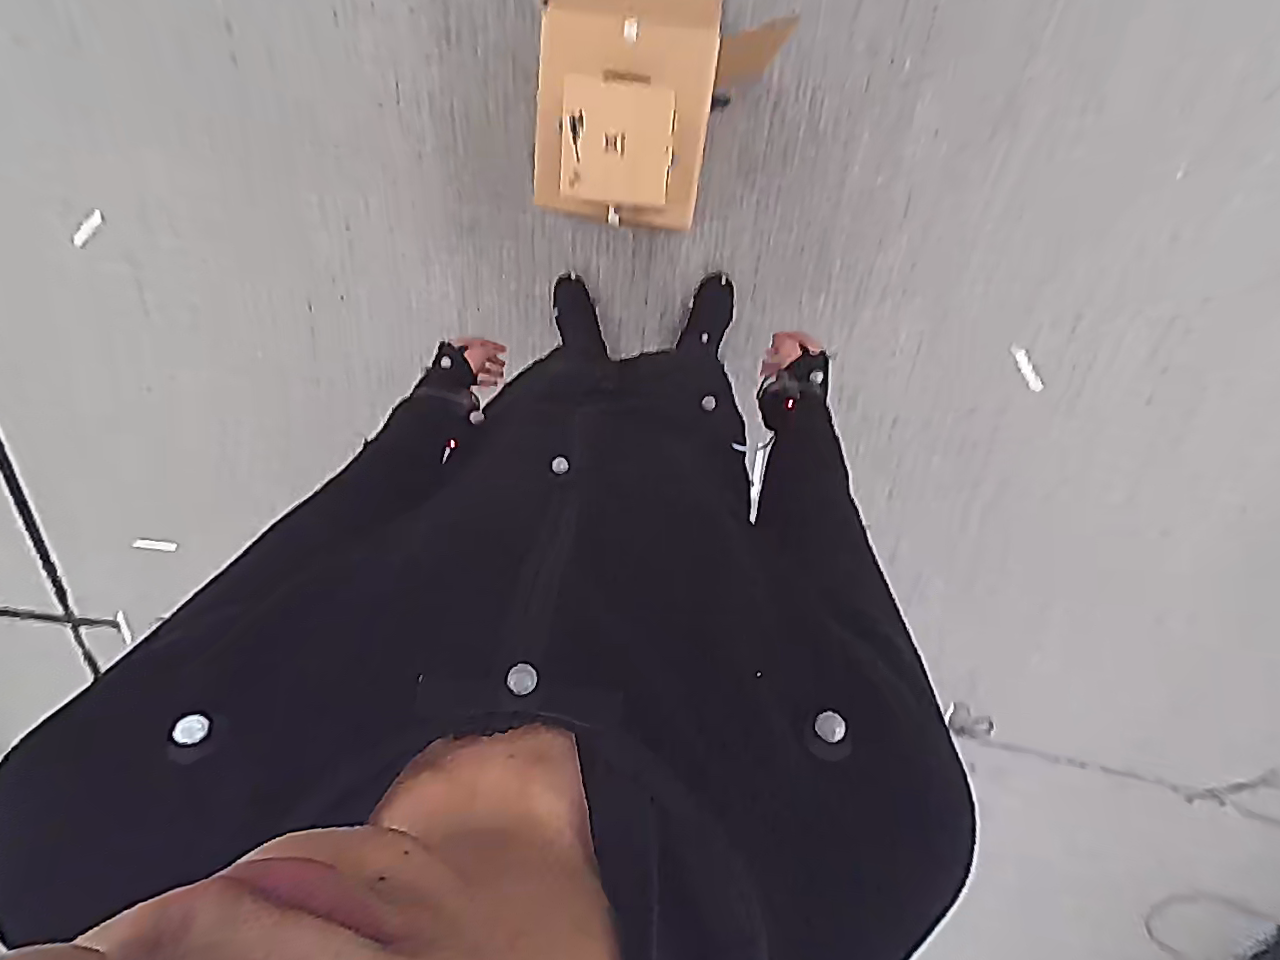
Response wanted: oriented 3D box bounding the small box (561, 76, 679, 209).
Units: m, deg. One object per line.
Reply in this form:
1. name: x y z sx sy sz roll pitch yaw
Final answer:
1. small box: -0.033 -0.569 0.929 0.179 0.176 0.168 6 116 -1
